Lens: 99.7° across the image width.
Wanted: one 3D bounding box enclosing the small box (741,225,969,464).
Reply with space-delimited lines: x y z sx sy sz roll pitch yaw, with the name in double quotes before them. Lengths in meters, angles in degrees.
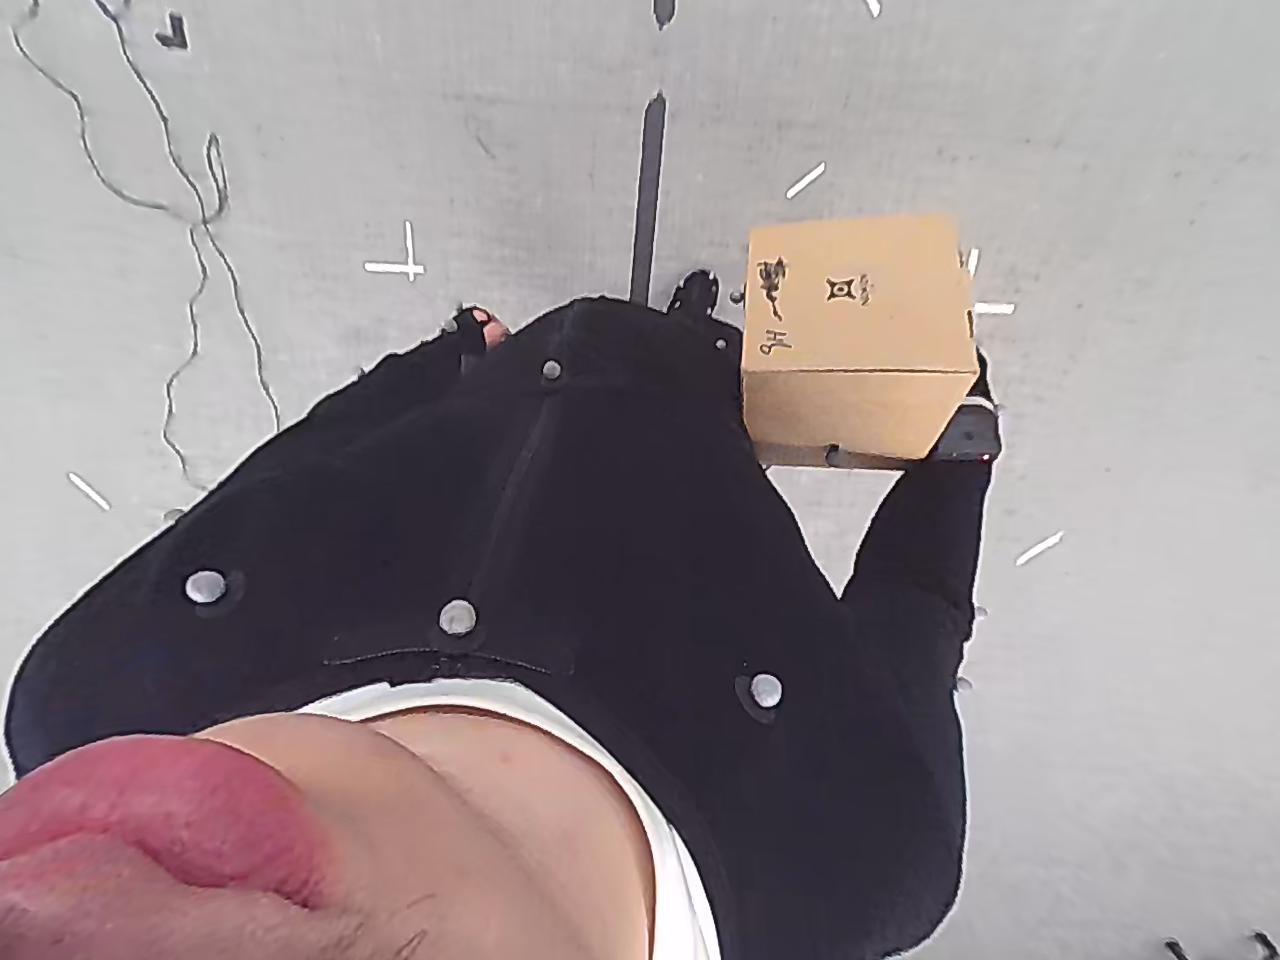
"small box" 0.196 -0.125 0.541 0.179 0.168 0.176 3 155 12
